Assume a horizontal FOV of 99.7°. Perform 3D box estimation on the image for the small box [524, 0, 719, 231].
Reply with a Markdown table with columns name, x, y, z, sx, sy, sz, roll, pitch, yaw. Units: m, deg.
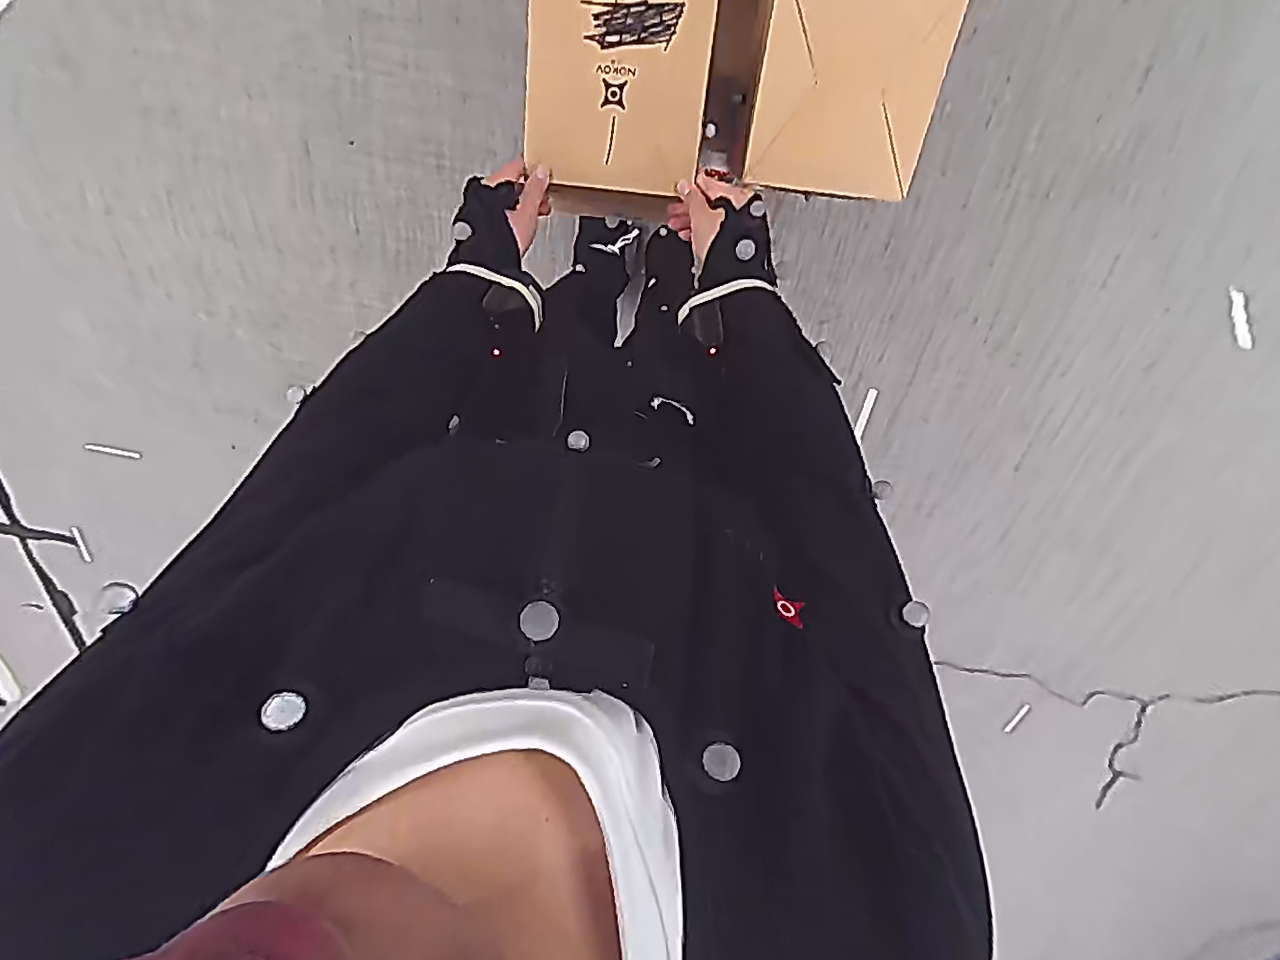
| name | x | y | z | sx | sy | sz | roll | pitch | yaw |
| --- | --- | --- | --- | --- | --- | --- | --- | --- | --- |
| small box | -0.018 | -0.380 | 0.574 | 0.168 | 0.176 | 0.179 | 7 | 107 | 1 |
